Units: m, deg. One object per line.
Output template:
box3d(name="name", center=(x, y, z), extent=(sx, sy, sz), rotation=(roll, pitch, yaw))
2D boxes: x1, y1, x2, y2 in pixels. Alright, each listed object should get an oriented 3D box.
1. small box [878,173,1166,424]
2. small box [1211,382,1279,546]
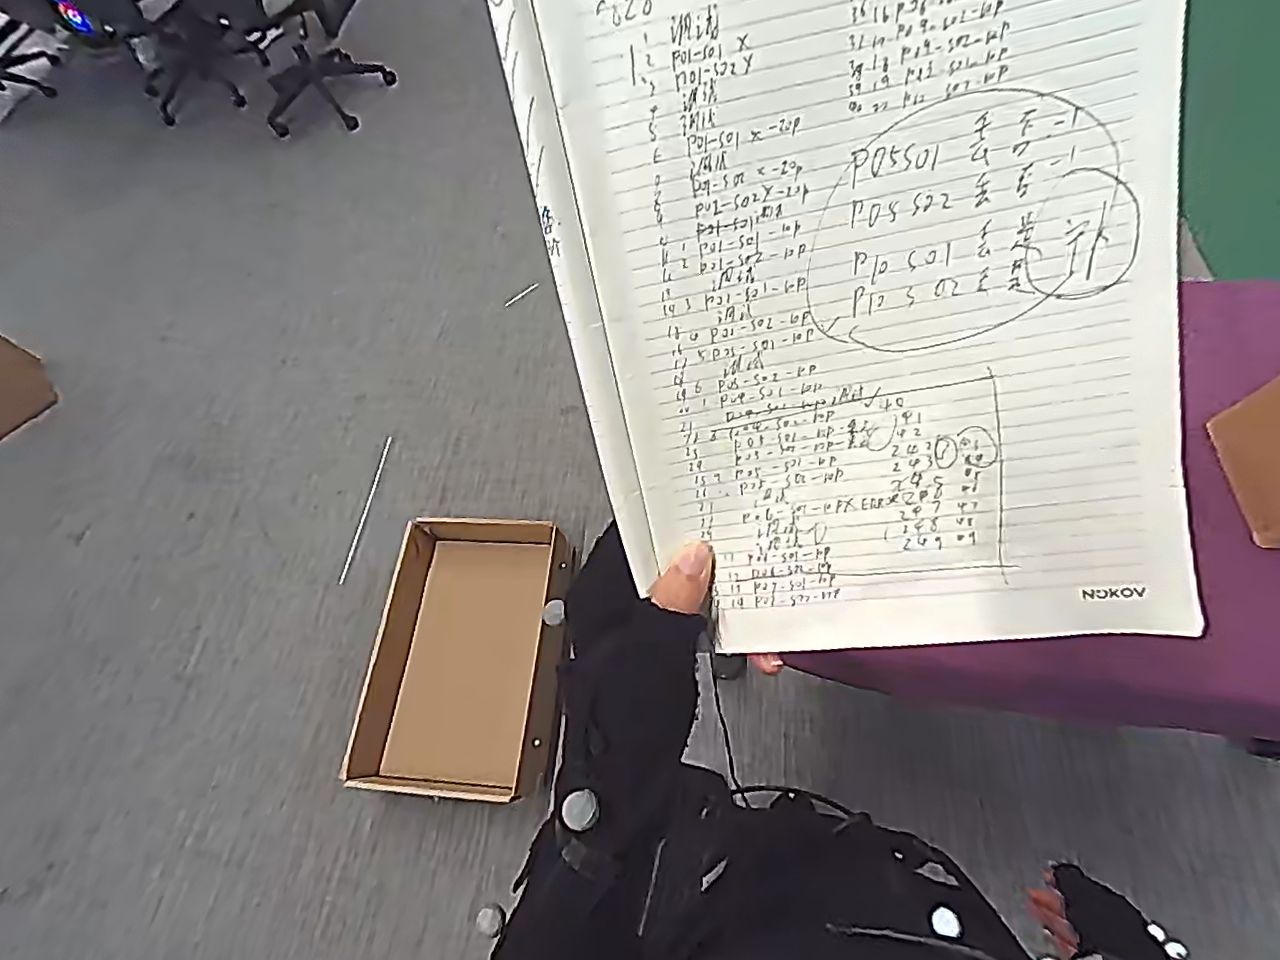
box3d(name="small box", center=(0.348, -0.171, 0.538), extent=(0.168, 0.176, 0.179), rotation=(4, 63, 9))
box3d(name="small box", center=(0.810, -0.022, 0.595), extent=(0.168, 0.176, 0.179), rotation=(2, 64, 9))
